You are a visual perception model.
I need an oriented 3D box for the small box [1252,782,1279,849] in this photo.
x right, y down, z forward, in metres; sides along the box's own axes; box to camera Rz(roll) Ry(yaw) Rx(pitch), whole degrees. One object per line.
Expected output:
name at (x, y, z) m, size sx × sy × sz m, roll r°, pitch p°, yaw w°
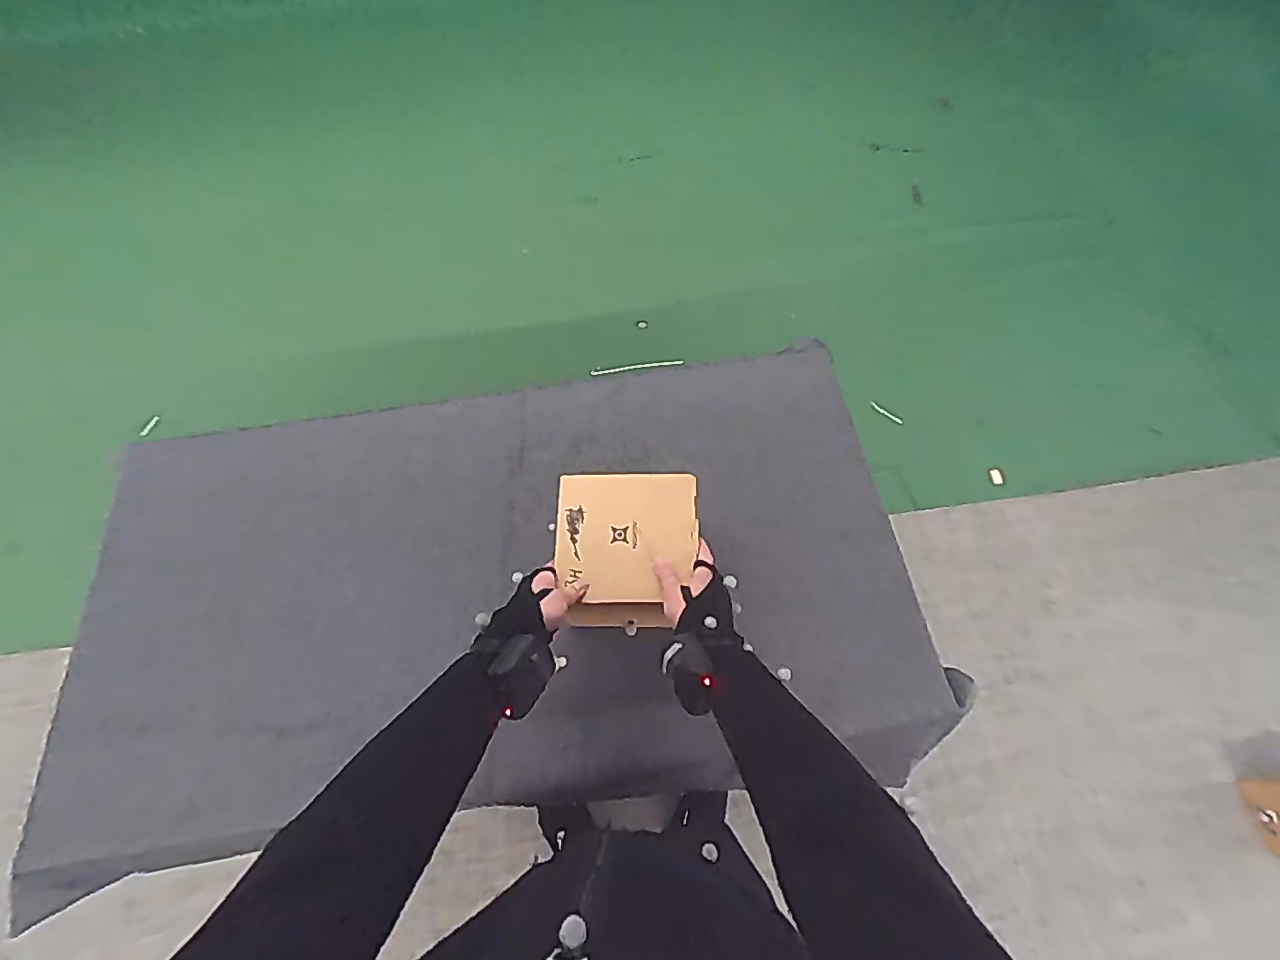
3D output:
small box at (1.538, 0.756, 1.181) m, size 0.179 × 0.176 × 0.168 m, roll -6°, pitch 63°, yaw -1°

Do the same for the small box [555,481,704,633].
small box at (-0.011, 0.110, 0.733) m, size 0.179 × 0.176 × 0.168 m, roll 0°, pitch 65°, yaw 1°
